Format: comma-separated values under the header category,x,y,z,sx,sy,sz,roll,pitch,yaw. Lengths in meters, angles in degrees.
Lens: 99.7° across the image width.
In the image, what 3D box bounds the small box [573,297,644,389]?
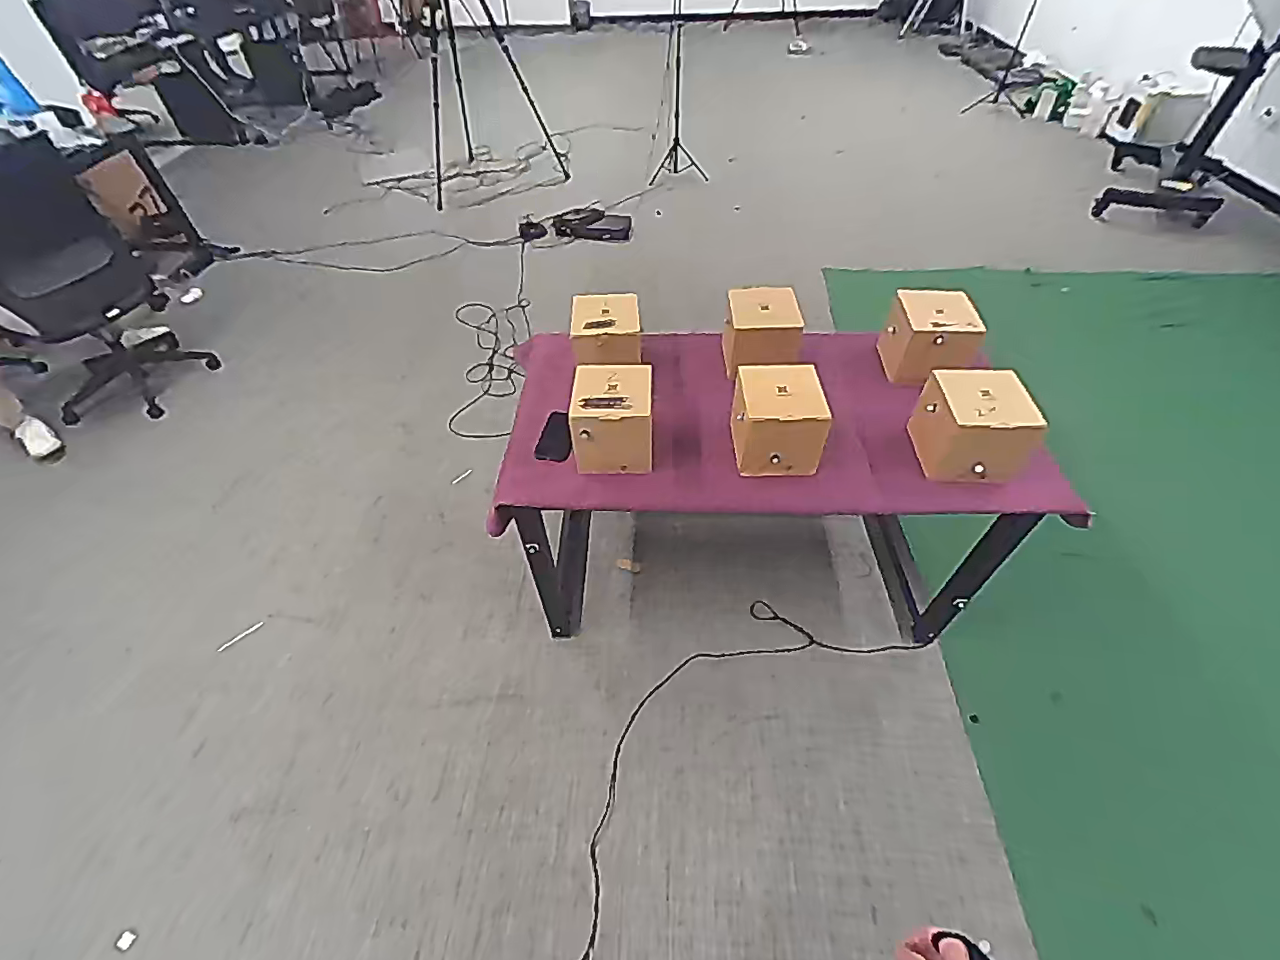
category,x,y,z,sx,sy,sz,roll,pitch,yaw
small box,-0.076,-0.344,1.379,0.168,0.176,0.179,-2,48,-1

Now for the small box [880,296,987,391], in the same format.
category,x,y,z,sx,sy,sz,roll,pitch,yaw
small box,0.721,-0.341,1.354,0.168,0.176,0.179,2,49,5

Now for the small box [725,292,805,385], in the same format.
category,x,y,z,sx,sy,sz,roll,pitch,yaw
small box,0.312,-0.361,1.385,0.168,0.176,0.179,0,49,2

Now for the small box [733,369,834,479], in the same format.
category,x,y,z,sx,sy,sz,roll,pitch,yaw
small box,0.300,-0.123,1.175,0.168,0.176,0.179,-1,48,1

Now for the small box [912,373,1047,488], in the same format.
category,x,y,z,sx,sy,sz,roll,pitch,yaw
small box,0.699,-0.105,1.142,0.168,0.176,0.179,2,49,5
